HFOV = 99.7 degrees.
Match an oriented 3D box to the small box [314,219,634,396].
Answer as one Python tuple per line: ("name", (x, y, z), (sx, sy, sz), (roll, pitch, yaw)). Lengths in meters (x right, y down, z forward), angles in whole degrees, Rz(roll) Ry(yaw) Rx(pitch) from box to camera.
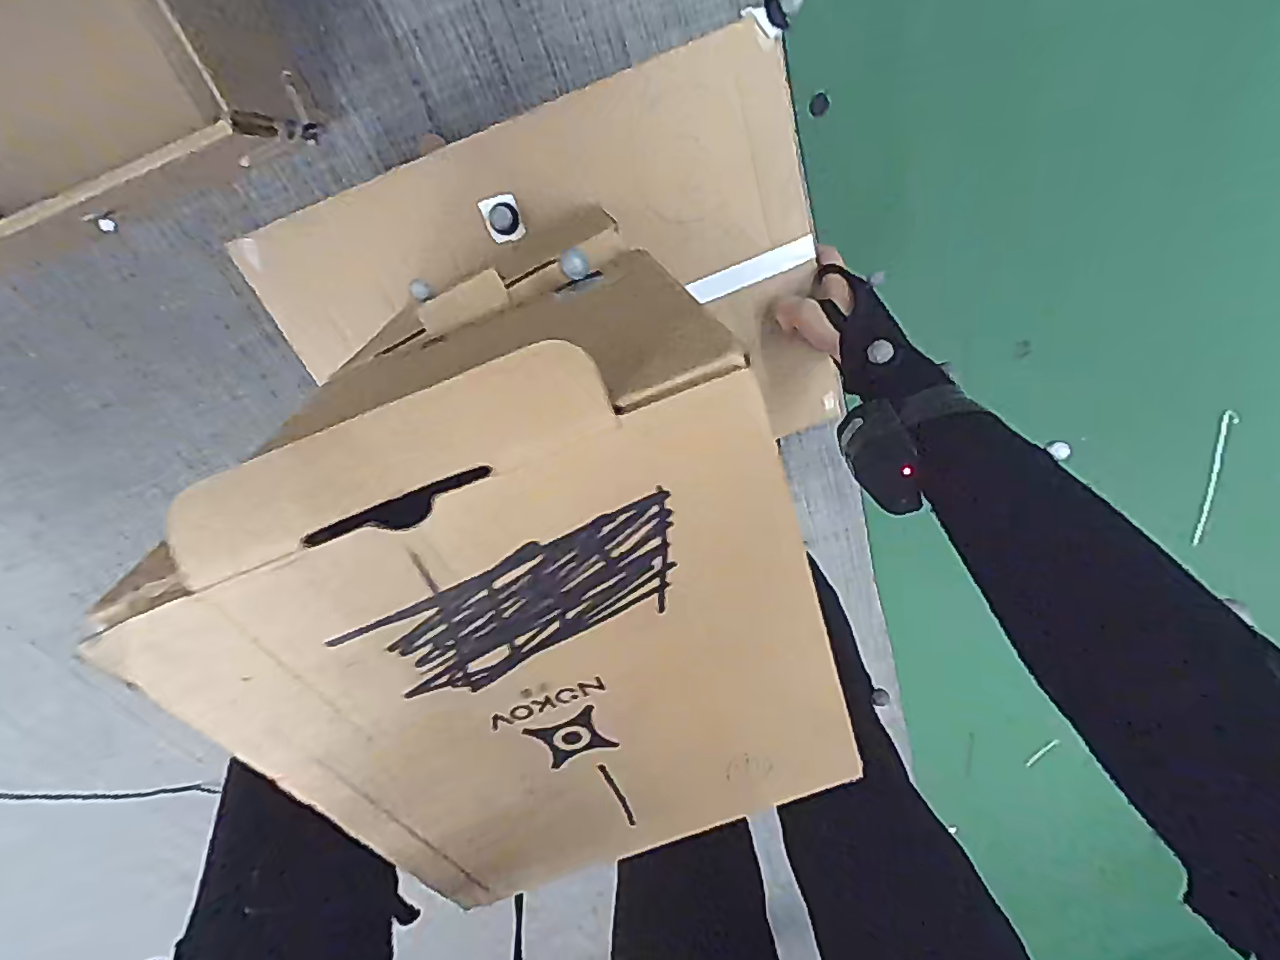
("small box", (-0.063, -0.054, 0.363), (0.168, 0.176, 0.179), (-26, 120, 6))

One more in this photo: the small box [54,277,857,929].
("small box", (-0.038, 0.031, 0.225), (0.168, 0.176, 0.179), (-22, 120, 4))
